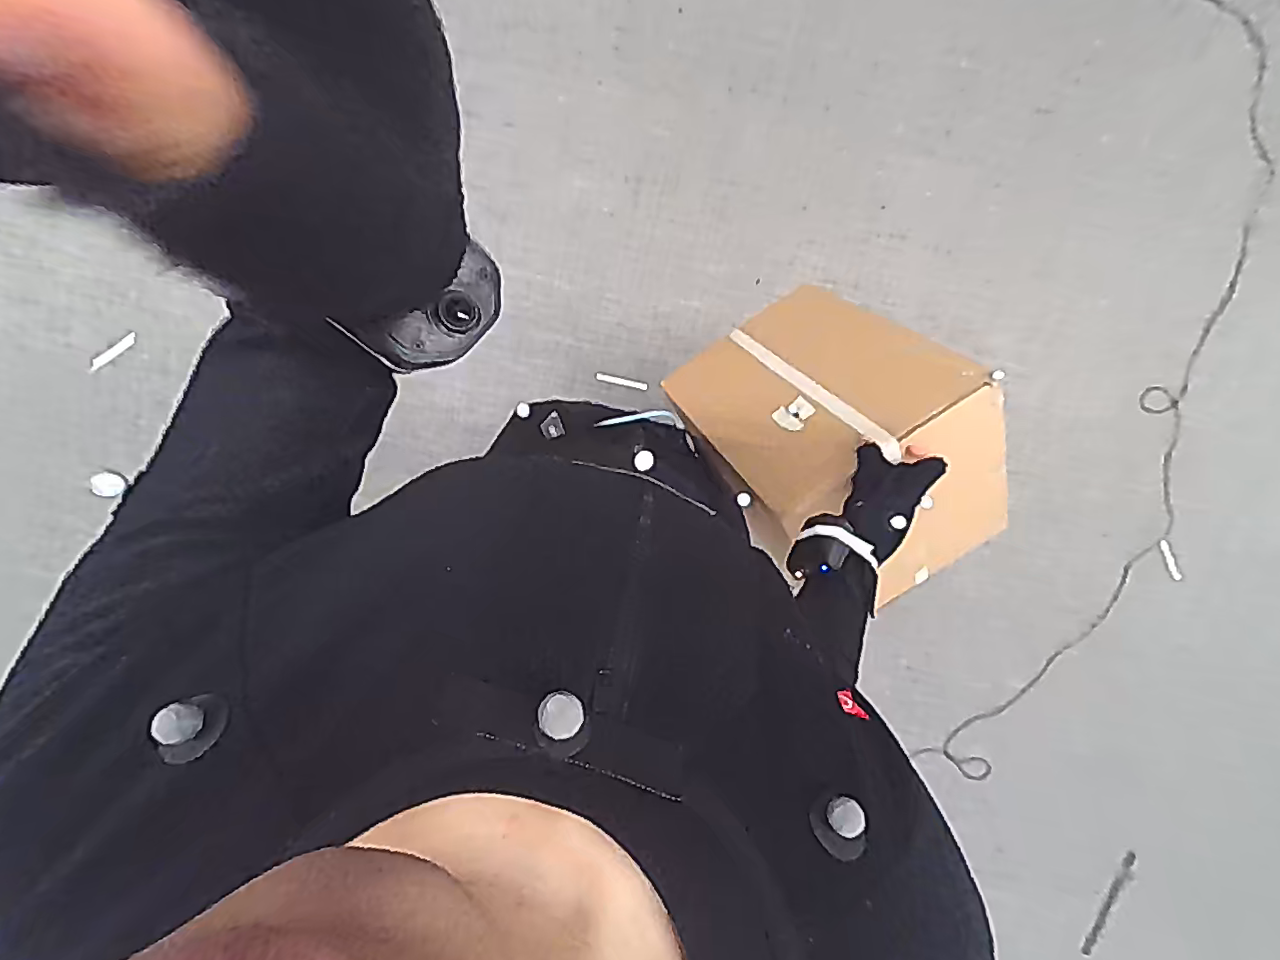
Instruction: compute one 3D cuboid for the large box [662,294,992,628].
[{"bbox_3d":[0.294,-0.044,0.900,0.320,0.408,0.320,-34,131,3],"label":"large box"}]
